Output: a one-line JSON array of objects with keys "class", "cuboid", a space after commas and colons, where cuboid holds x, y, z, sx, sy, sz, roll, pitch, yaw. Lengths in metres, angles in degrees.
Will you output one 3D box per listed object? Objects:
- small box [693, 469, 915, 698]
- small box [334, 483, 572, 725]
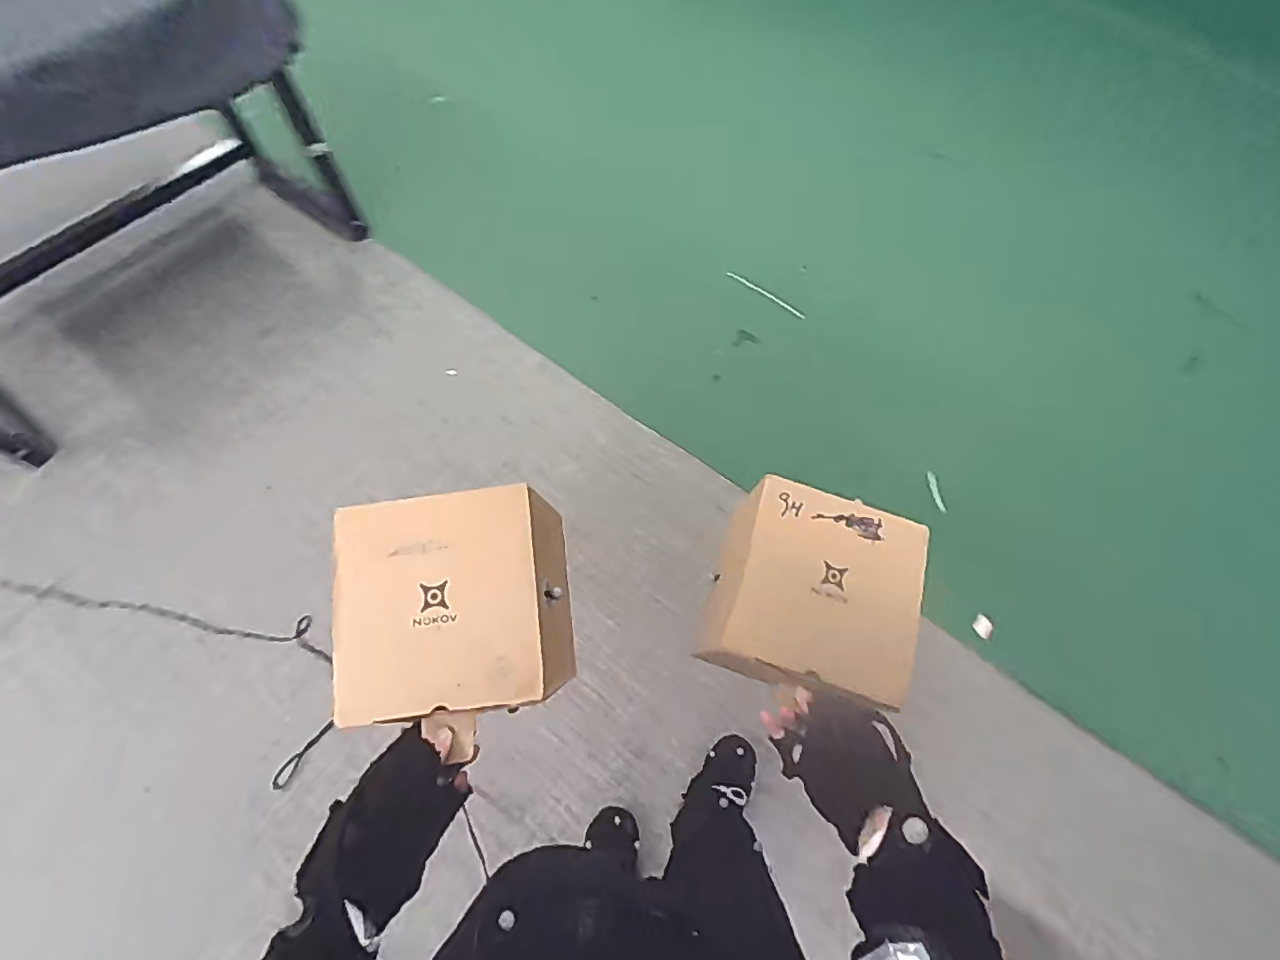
[{"class": "small box", "cuboid": [0.162, 0.116, 0.581, 0.168, 0.176, 0.179, 18, 71, 2]}, {"class": "small box", "cuboid": [-0.165, 0.115, 0.519, 0.168, 0.176, 0.179, -9, 76, -1]}]
